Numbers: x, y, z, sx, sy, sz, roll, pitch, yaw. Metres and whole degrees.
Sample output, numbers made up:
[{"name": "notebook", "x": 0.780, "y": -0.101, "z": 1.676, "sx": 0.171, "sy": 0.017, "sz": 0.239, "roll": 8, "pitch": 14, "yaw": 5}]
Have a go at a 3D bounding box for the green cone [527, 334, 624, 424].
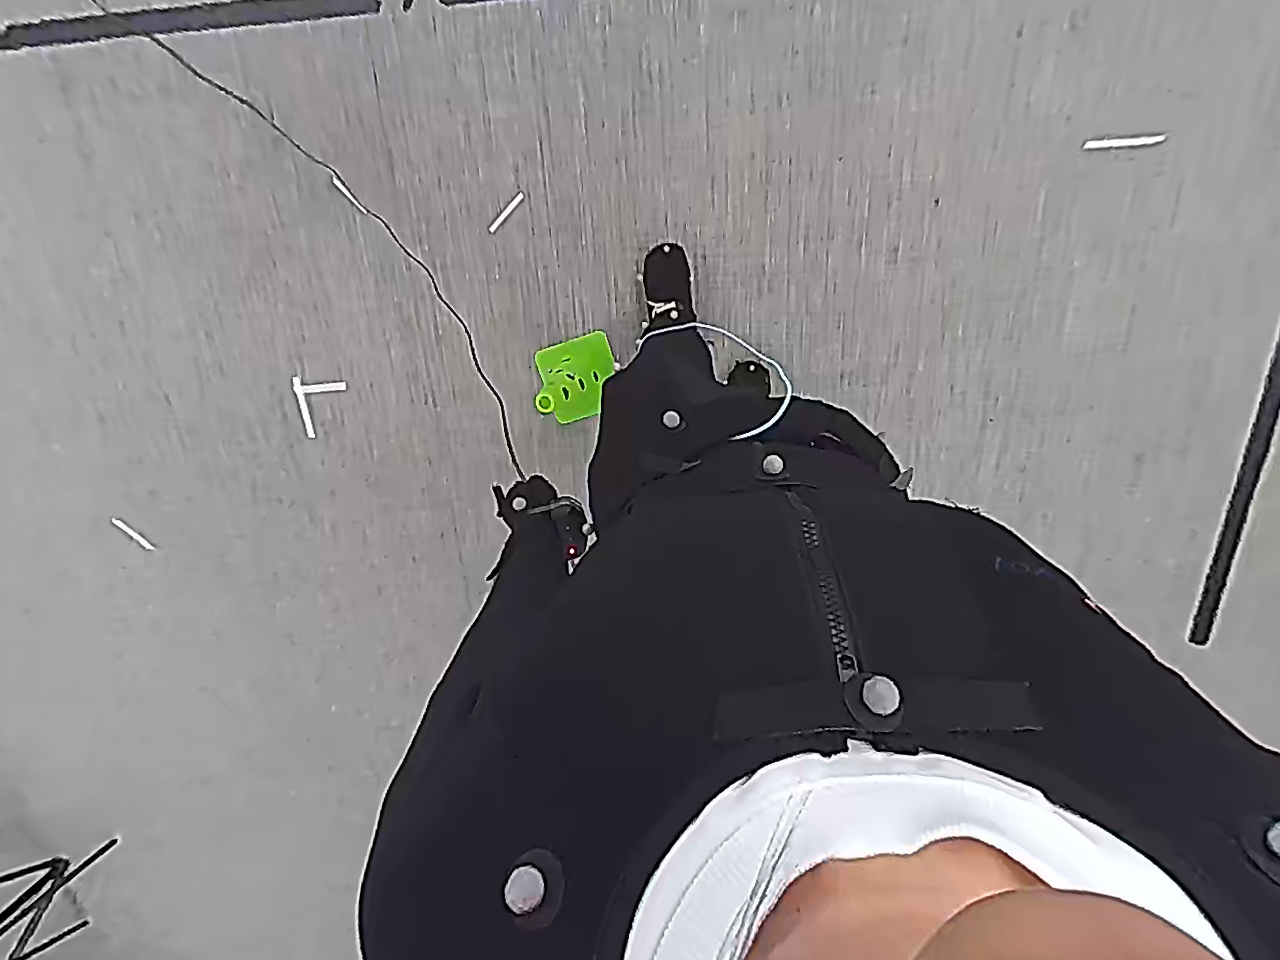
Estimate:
[{"name": "green cone", "x": -0.180, "y": -0.209, "z": 1.241, "sx": 0.202, "sy": 0.368, "sz": 0.200, "roll": -16, "pitch": 105, "yaw": 12}]
